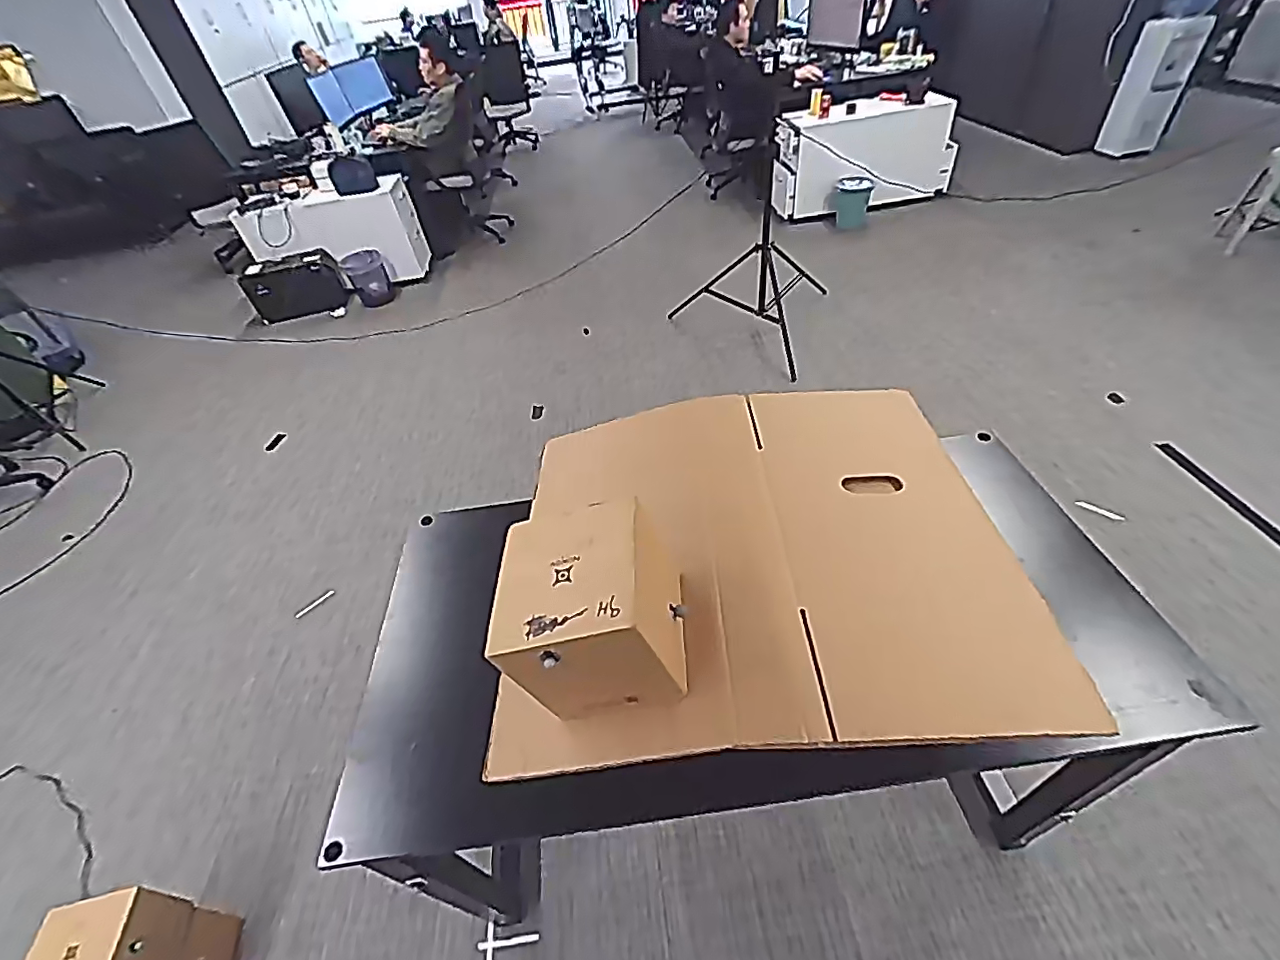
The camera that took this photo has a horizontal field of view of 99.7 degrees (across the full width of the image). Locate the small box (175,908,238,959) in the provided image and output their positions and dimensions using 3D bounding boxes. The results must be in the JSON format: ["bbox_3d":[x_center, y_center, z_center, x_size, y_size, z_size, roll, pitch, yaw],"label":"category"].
[{"bbox_3d":[-1.002,1.044,1.143,0.168,0.176,0.179,-11,45,-3],"label":"small box"}]

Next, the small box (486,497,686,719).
[{"bbox_3d":[-0.051,0.153,0.635,0.168,0.176,0.179,-16,42,14],"label":"small box"}]

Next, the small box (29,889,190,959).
[{"bbox_3d":[-1.021,0.924,1.035,0.168,0.176,0.179,-13,43,-5],"label":"small box"}]
